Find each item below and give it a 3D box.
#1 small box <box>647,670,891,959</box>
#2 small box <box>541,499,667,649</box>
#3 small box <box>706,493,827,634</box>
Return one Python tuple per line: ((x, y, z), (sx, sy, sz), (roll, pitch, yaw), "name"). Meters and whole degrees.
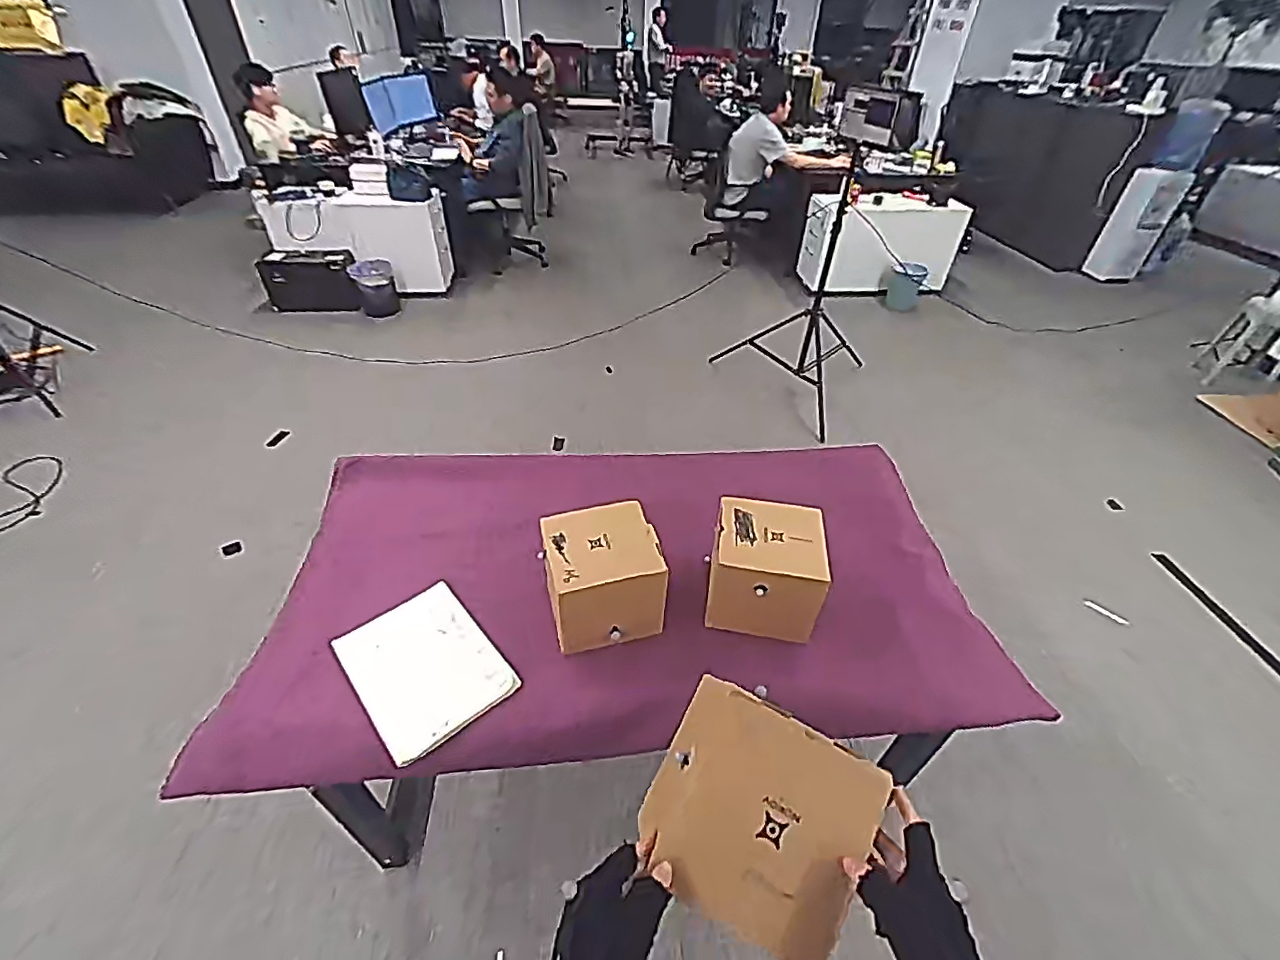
((0.113, 0.308, 0.545), (0.168, 0.176, 0.179), (27, 74, 7), "small box")
((-0.067, 0.158, 0.919), (0.179, 0.176, 0.168), (-9, 41, -15), "small box")
((0.212, 0.146, 0.941), (0.179, 0.176, 0.168), (8, 40, 7), "small box")
